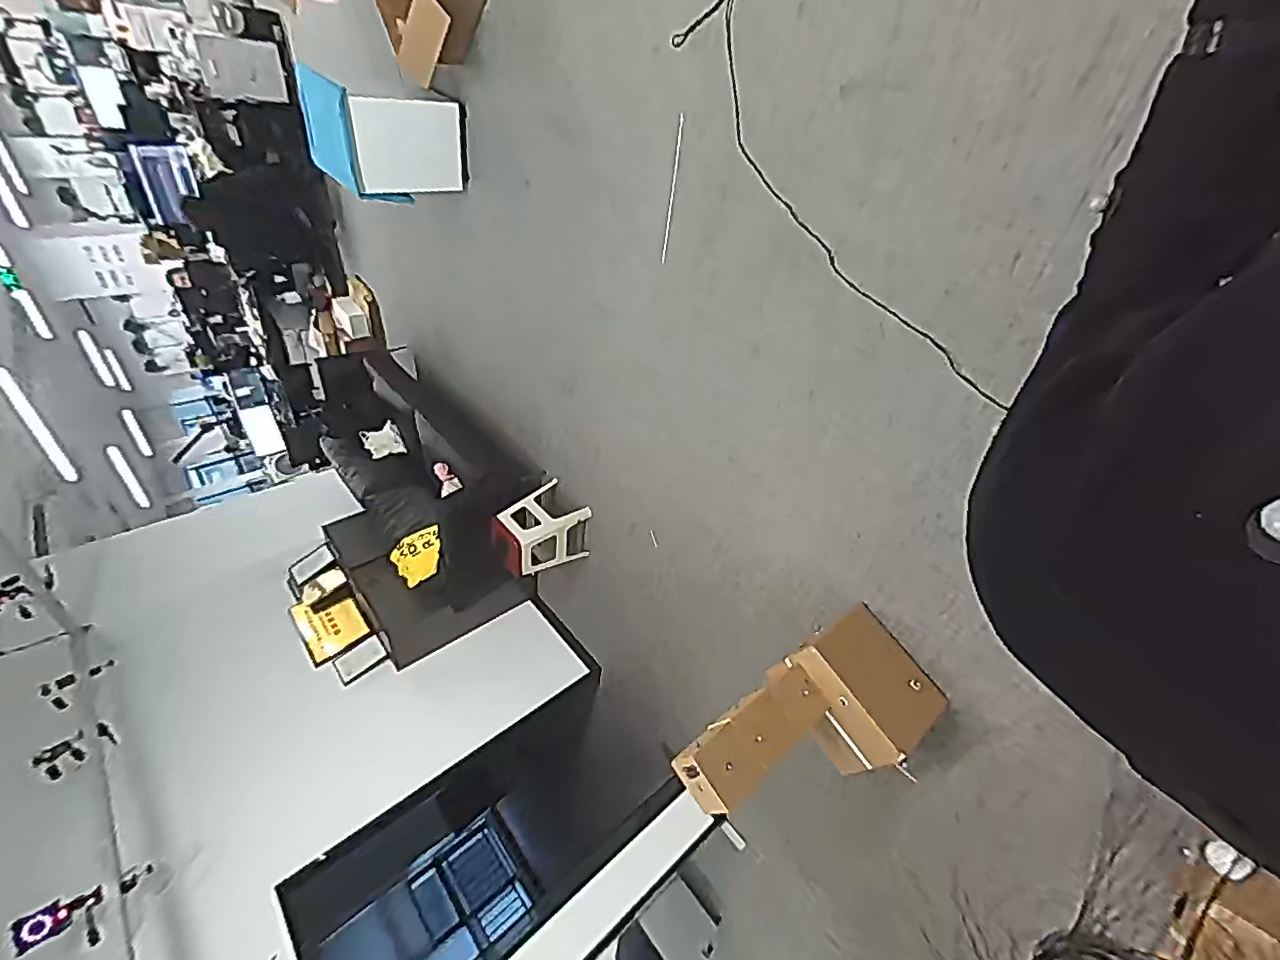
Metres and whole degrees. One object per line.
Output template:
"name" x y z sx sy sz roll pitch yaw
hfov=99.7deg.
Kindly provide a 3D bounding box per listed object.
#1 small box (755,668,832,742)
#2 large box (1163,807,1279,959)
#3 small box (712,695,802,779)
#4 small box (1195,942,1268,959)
"small box" 0.494 0.750 1.781 0.168 0.176 0.179 53 144 18
"large box" 1.428 1.007 1.128 0.408 0.320 0.320 26 129 42
"small box" 0.366 0.798 1.694 0.179 0.176 0.168 53 145 17
"small box" 1.187 1.044 1.036 0.179 0.176 0.168 31 132 40
